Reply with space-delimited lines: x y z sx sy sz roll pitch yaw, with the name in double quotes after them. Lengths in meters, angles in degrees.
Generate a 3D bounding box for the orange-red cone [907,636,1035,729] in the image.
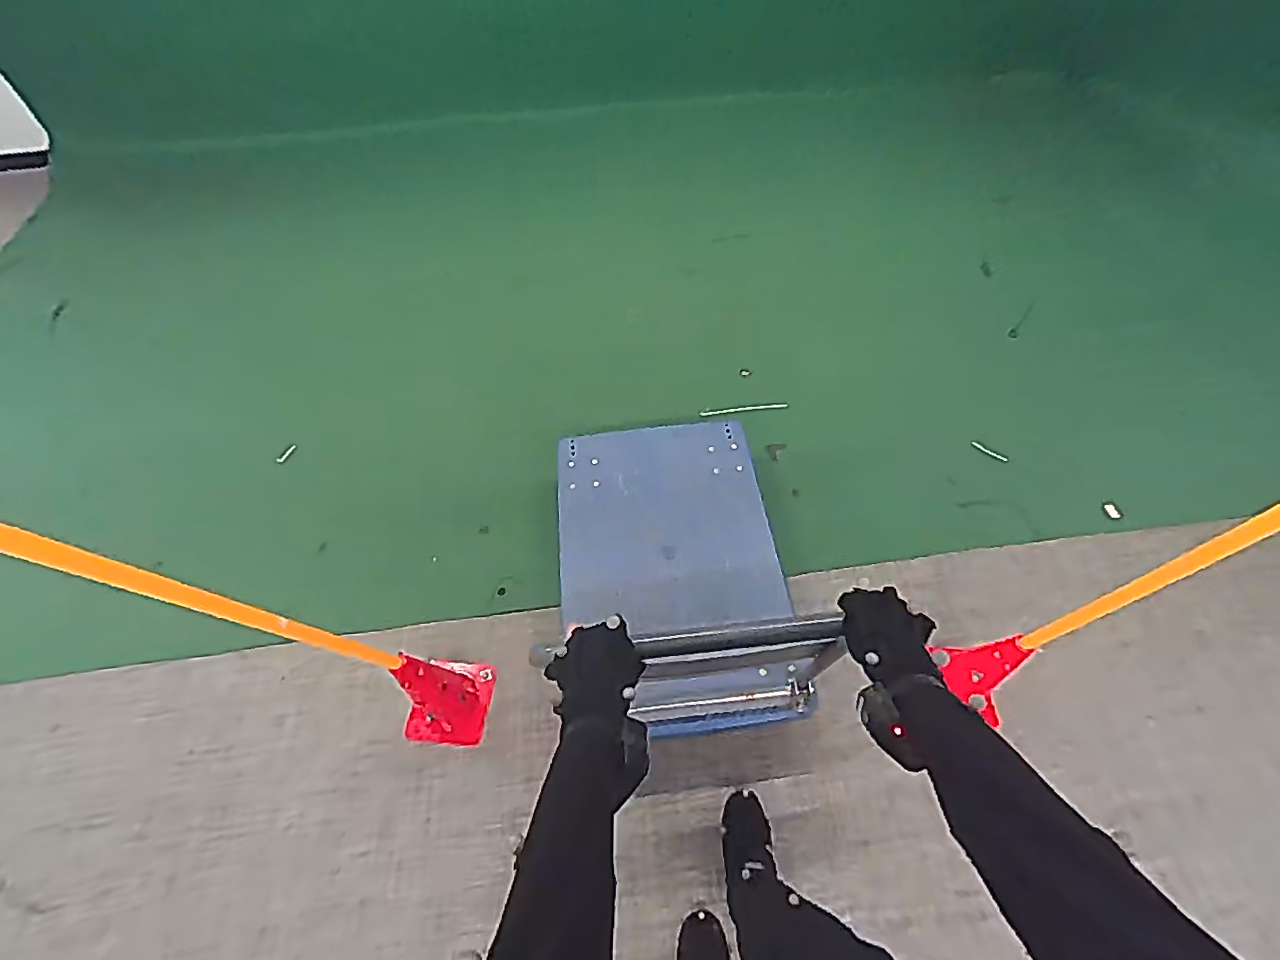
0.793 0.434 1.244 0.198 0.360 0.199 2 57 4 "orange-red cone"
